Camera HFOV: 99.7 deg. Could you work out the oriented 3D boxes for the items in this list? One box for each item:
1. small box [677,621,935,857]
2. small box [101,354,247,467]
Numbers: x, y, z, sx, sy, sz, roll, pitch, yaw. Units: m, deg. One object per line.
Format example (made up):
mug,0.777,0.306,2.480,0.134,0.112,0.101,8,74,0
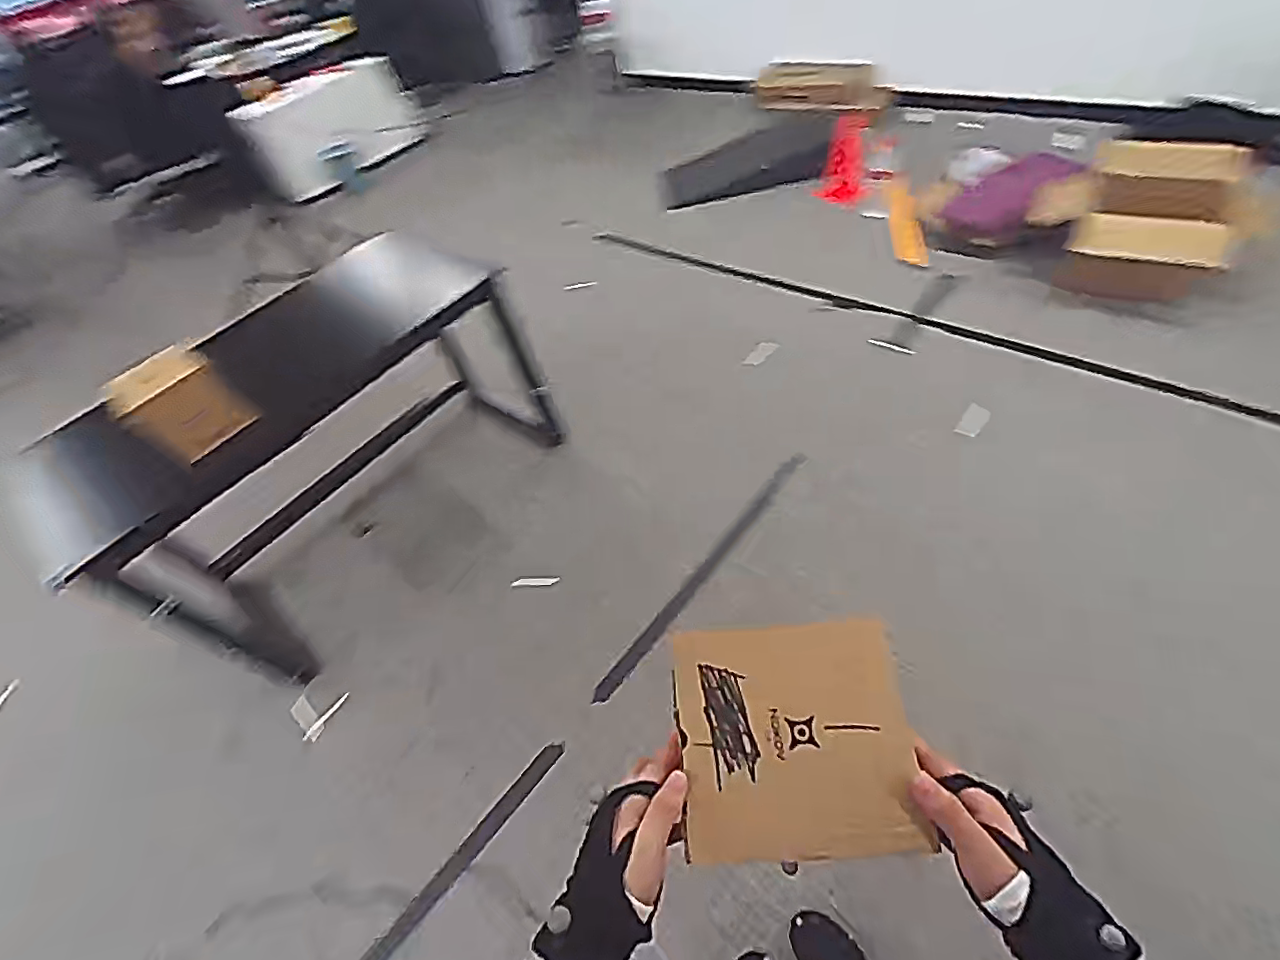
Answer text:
small box,0.132,0.233,0.492,0.179,0.176,0.168,-5,62,7
small box,-1.057,-0.155,1.241,0.179,0.176,0.168,28,62,30
